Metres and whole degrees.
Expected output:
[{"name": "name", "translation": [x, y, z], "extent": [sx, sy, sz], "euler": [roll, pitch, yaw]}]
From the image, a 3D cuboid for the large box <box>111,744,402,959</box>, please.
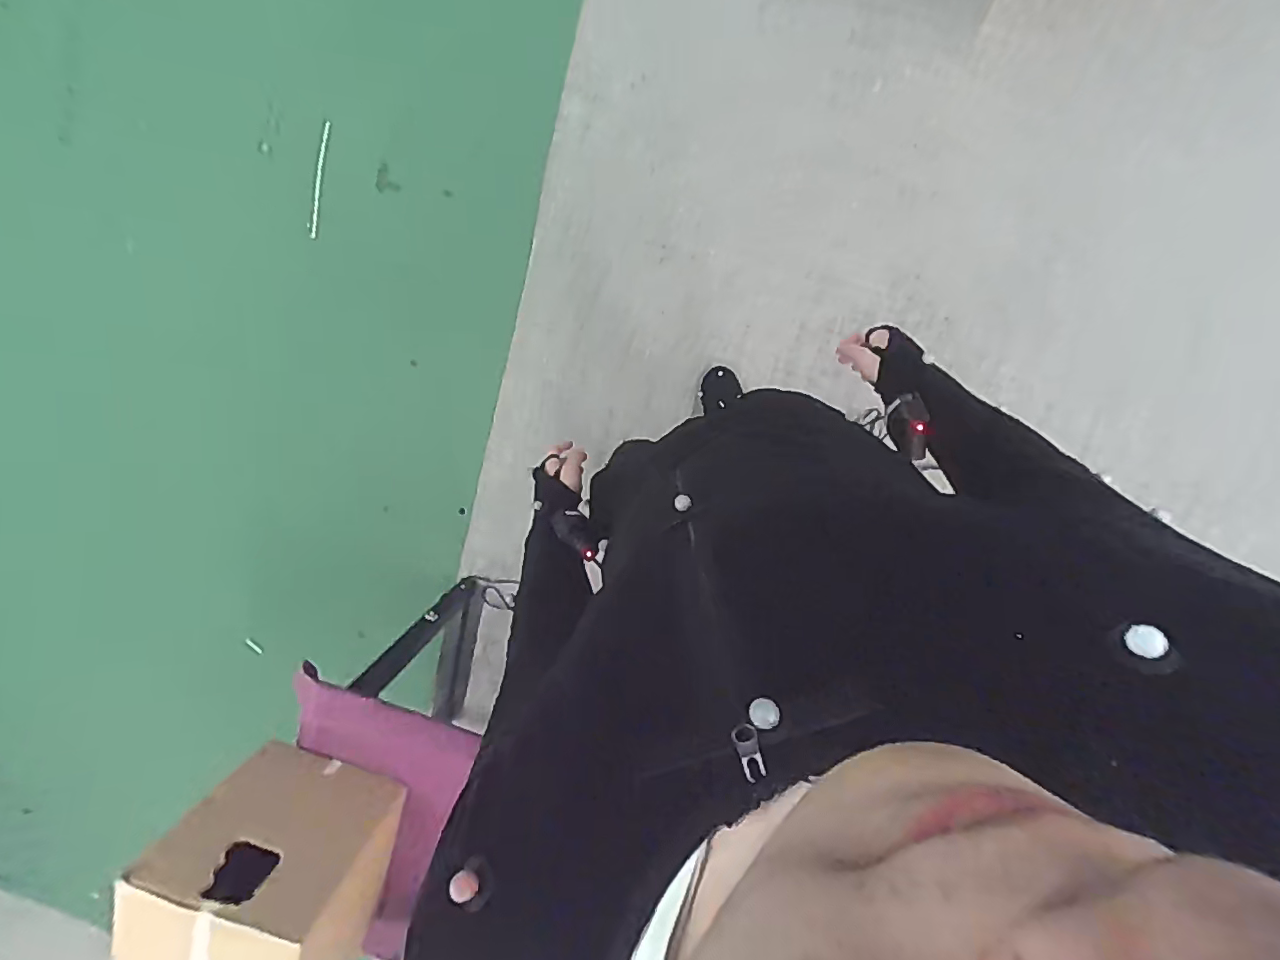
[{"name": "large box", "translation": [-0.694, 0.801, 1.011], "extent": [0.320, 0.320, 0.408], "euler": [17, 104, 1]}]
